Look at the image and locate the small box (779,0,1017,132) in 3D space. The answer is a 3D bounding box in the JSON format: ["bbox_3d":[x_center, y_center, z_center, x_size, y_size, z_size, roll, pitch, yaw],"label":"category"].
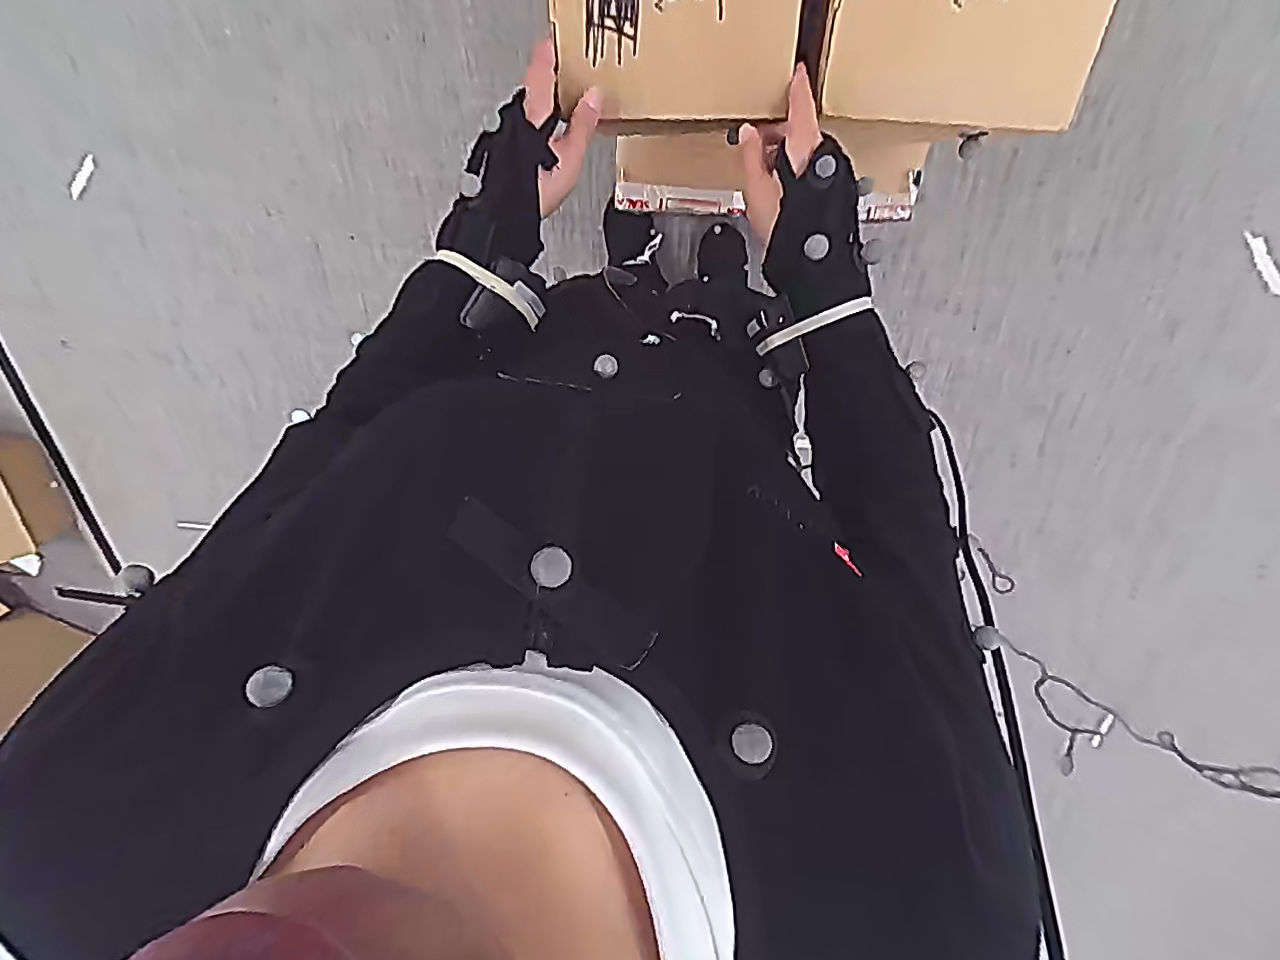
[{"bbox_3d":[0.248,-0.459,0.541,0.179,0.176,0.168,9,119,2],"label":"small box"}]
